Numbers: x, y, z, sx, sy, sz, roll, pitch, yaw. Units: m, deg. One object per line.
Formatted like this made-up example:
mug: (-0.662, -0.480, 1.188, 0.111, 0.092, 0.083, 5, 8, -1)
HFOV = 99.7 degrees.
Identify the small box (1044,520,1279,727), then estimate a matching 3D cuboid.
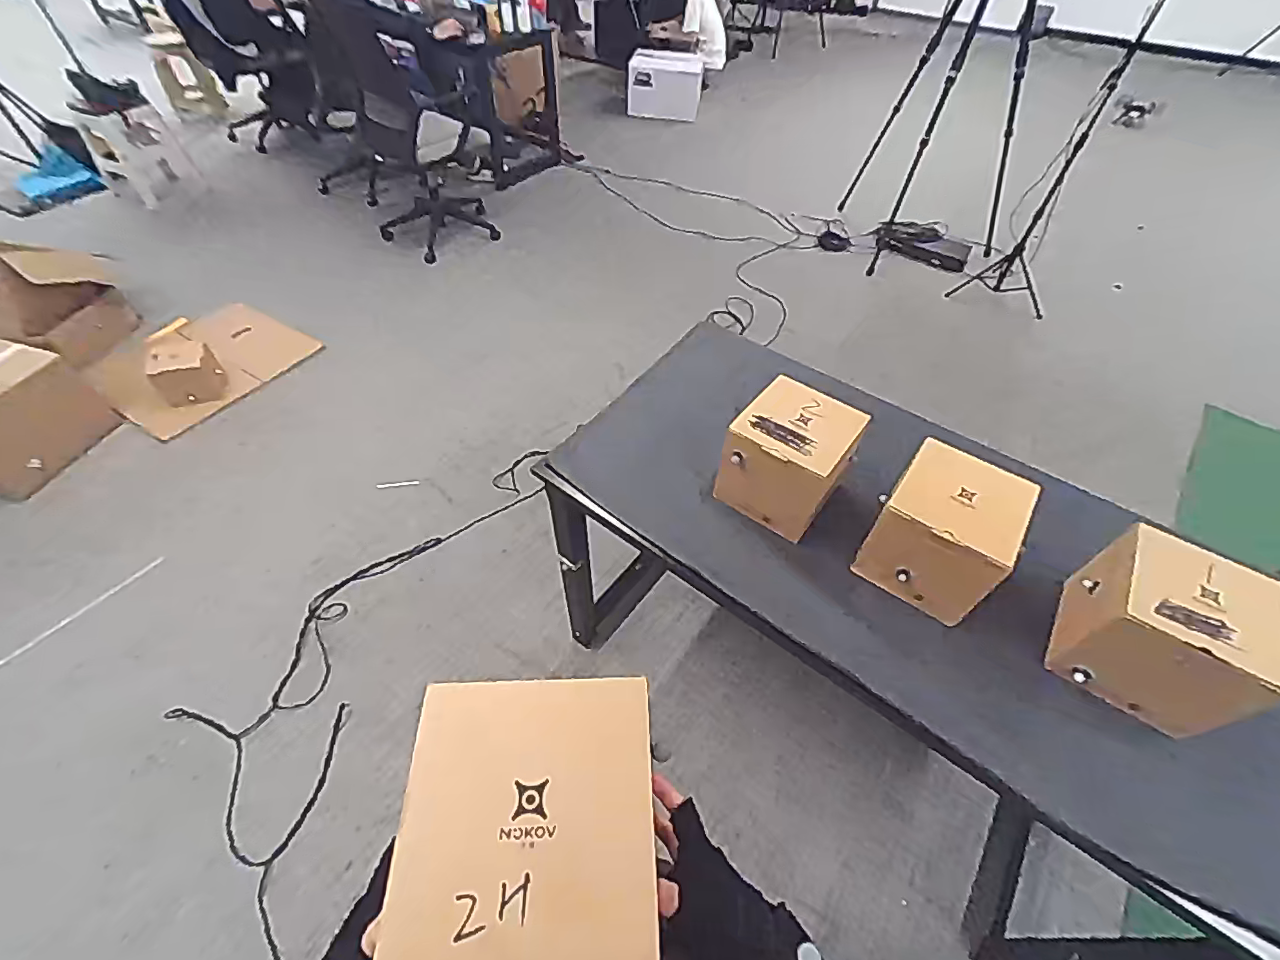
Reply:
small box: (0.686, 0.194, 0.725, 0.168, 0.176, 0.179, 30, 54, 21)

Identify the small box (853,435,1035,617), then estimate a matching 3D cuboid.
small box: (0.451, 0.071, 0.822, 0.168, 0.176, 0.179, 31, 56, 21)

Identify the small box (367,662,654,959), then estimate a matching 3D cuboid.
small box: (-0.077, 0.257, 0.420, 0.168, 0.176, 0.179, -1, 52, -2)
